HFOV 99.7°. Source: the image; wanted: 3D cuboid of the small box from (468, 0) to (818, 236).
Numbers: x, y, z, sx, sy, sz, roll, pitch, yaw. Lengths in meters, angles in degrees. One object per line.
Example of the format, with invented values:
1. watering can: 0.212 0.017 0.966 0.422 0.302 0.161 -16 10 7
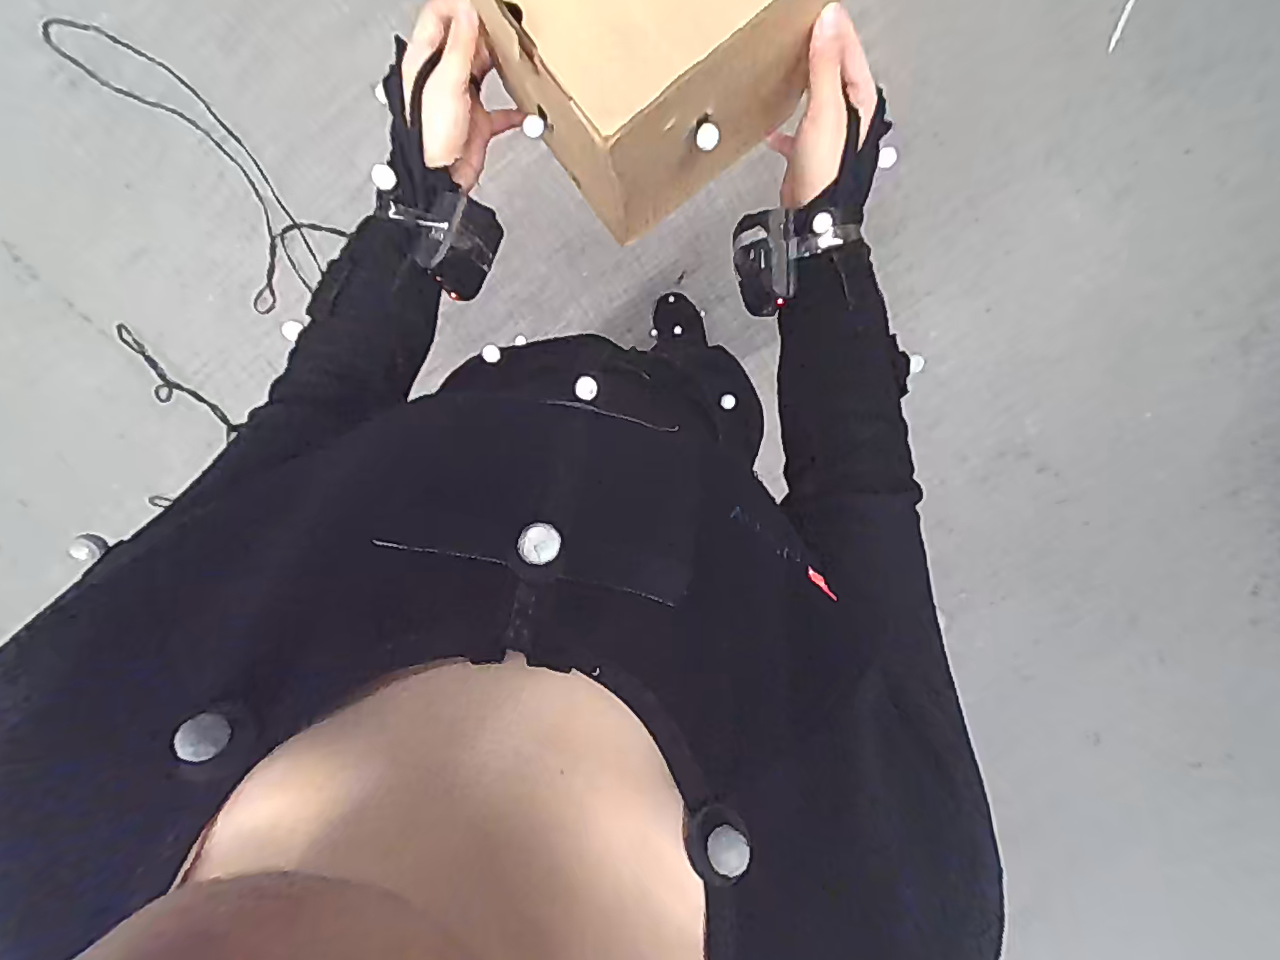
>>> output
1. small box: 0.002 -0.304 0.366 0.179 0.176 0.168 -38 93 5
